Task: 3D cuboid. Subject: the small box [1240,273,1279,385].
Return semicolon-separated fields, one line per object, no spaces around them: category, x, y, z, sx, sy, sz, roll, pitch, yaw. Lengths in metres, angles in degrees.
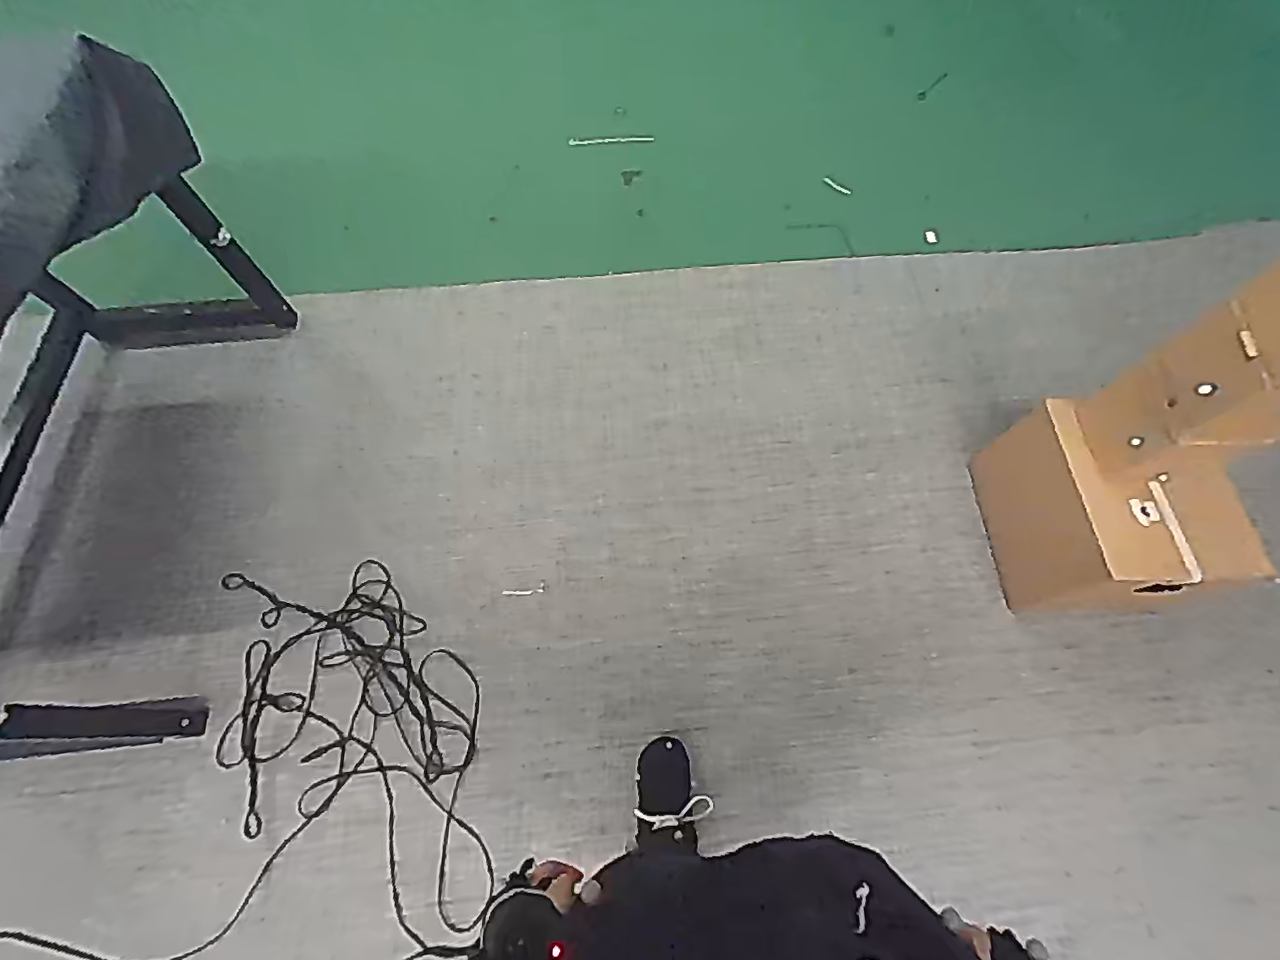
small box;1.007;-0.231;0.741;0.168;0.176;0.179;3;67;1

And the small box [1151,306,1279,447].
small box;1.006;-0.164;0.890;0.179;0.176;0.168;2;67;0

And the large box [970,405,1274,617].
large box;1.029;0.081;1.224;0.320;0.320;0.408;-2;66;0
